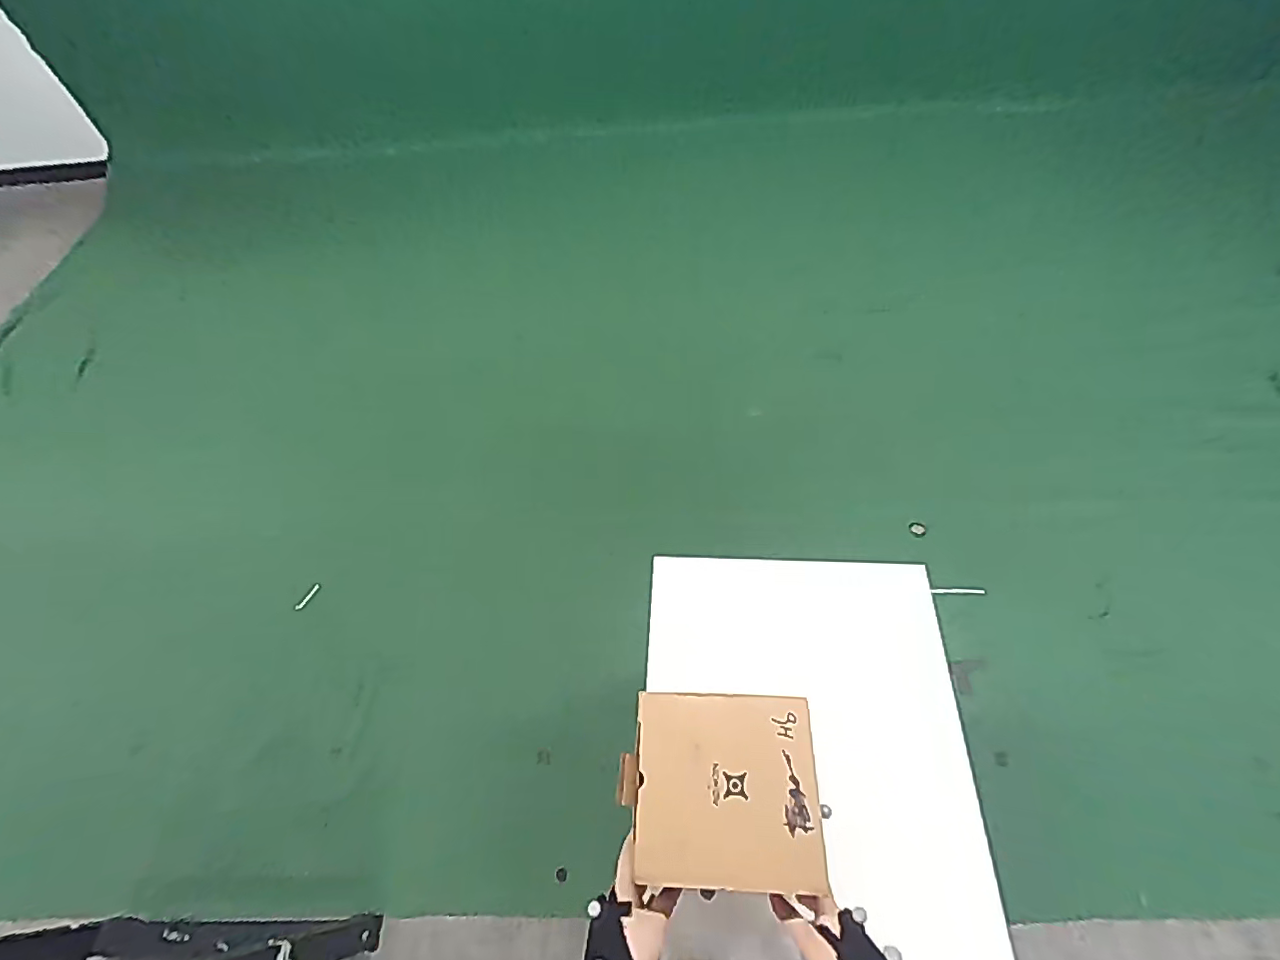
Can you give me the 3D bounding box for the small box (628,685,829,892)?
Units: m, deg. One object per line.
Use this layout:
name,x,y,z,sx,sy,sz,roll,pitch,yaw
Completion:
small box,0.087,0.325,0.576,0.179,0.176,0.168,0,58,5
